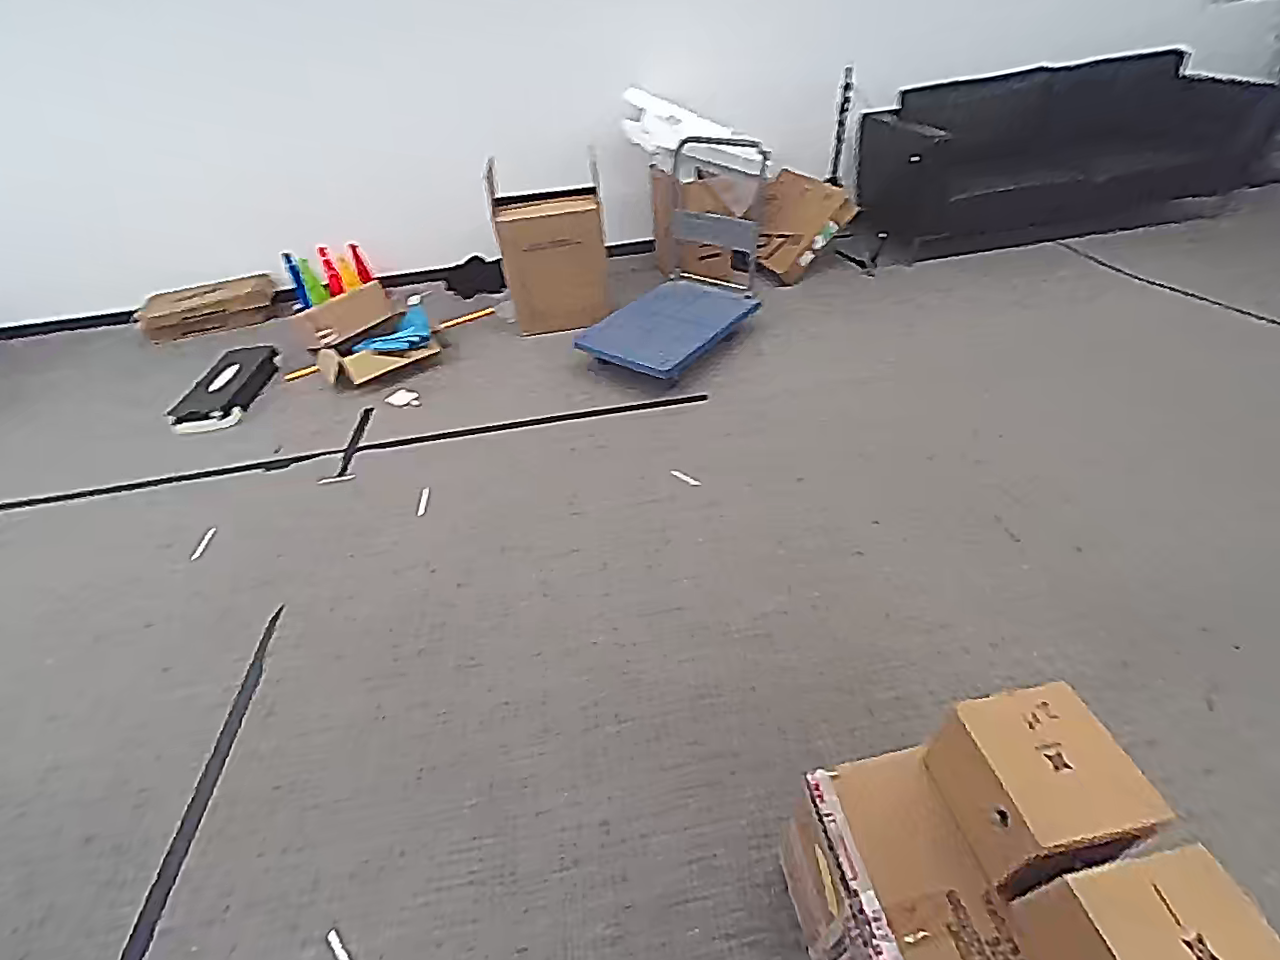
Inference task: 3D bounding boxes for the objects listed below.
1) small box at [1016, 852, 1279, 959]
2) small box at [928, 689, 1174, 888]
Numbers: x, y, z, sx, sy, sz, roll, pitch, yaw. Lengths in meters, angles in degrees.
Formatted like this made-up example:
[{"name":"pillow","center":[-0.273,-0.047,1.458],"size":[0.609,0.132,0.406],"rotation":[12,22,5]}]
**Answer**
[{"name":"small box","center":[0.557,0.536,0.578],"size":[0.168,0.176,0.179],"rotation":[-11,42,-3]},{"name":"small box","center":[0.521,0.414,0.720],"size":[0.168,0.176,0.179],"rotation":[-10,39,-3]}]
